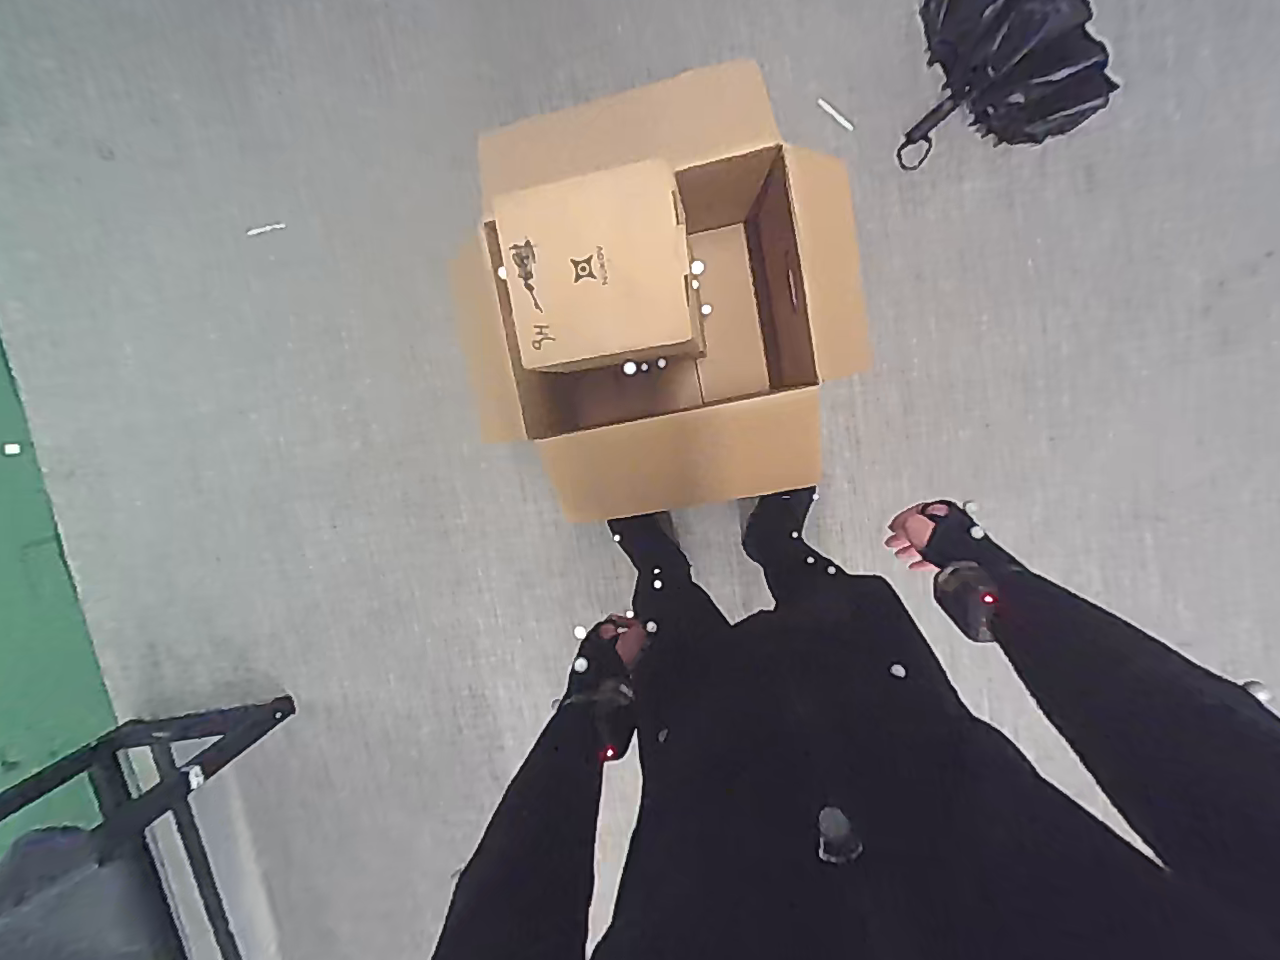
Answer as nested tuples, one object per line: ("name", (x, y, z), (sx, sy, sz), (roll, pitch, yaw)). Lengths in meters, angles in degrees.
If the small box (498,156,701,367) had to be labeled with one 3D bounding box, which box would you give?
("small box", (-0.029, -0.219, 0.590), (0.179, 0.176, 0.168), (-8, 99, 9))
